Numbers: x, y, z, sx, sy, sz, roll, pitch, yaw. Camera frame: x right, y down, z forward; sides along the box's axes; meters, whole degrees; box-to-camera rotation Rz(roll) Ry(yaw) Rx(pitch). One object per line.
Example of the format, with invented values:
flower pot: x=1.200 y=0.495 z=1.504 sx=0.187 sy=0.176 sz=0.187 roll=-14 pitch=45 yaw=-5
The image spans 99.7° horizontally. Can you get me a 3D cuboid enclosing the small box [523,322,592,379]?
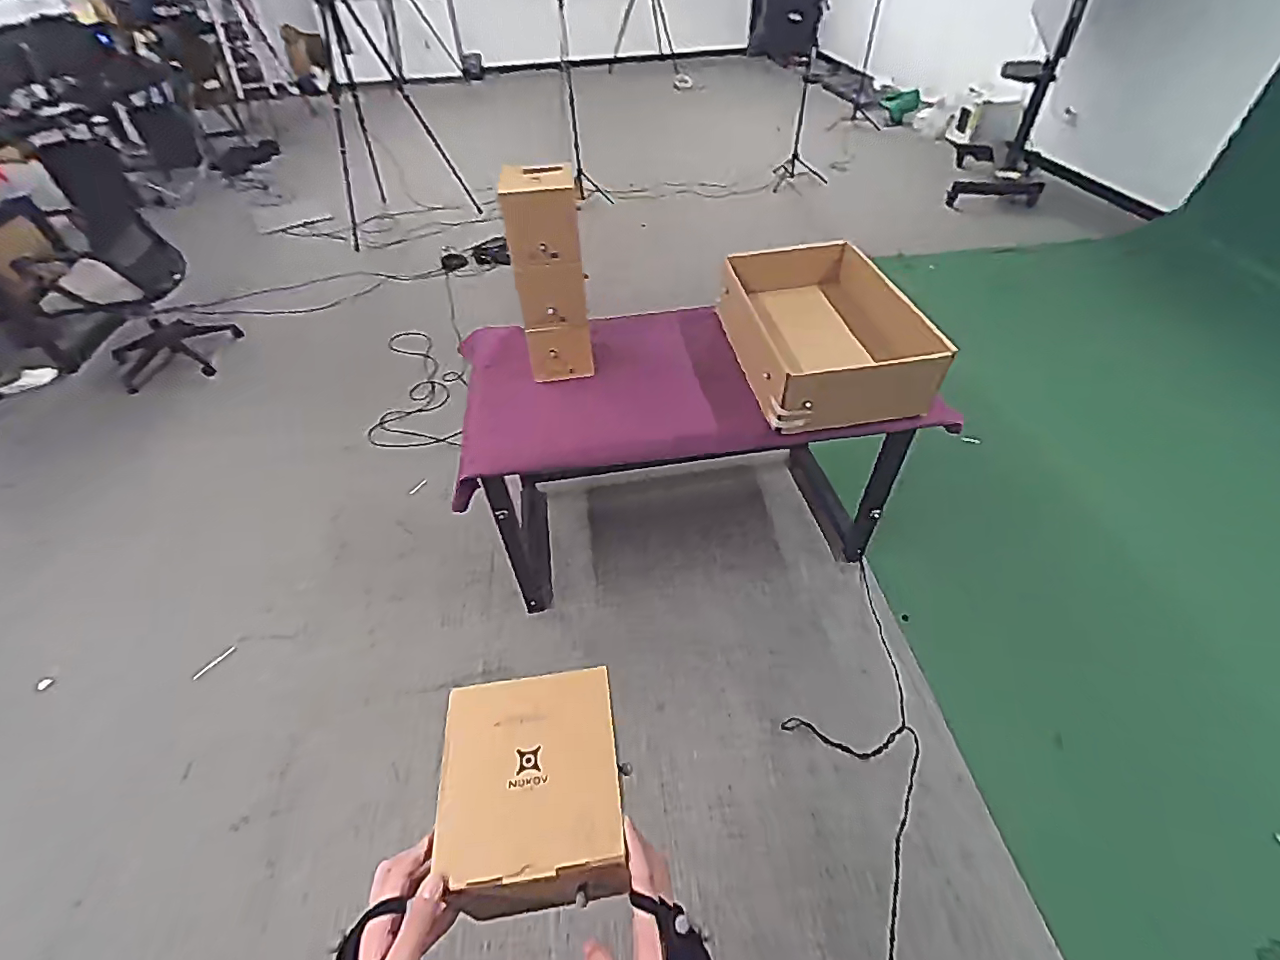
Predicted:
small box: x=-0.231 y=-0.397 z=1.514 sx=0.168 sy=0.176 sz=0.179 roll=-9 pitch=46 yaw=-5

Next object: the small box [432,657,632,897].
small box: x=-0.100 y=0.313 z=0.565 sx=0.168 sy=0.176 sz=0.179 roll=-6 pitch=45 yaw=-4

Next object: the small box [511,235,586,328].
small box: x=-0.230 y=-0.513 z=1.398 sx=0.168 sy=0.176 sz=0.179 roll=-5 pitch=47 yaw=-2
